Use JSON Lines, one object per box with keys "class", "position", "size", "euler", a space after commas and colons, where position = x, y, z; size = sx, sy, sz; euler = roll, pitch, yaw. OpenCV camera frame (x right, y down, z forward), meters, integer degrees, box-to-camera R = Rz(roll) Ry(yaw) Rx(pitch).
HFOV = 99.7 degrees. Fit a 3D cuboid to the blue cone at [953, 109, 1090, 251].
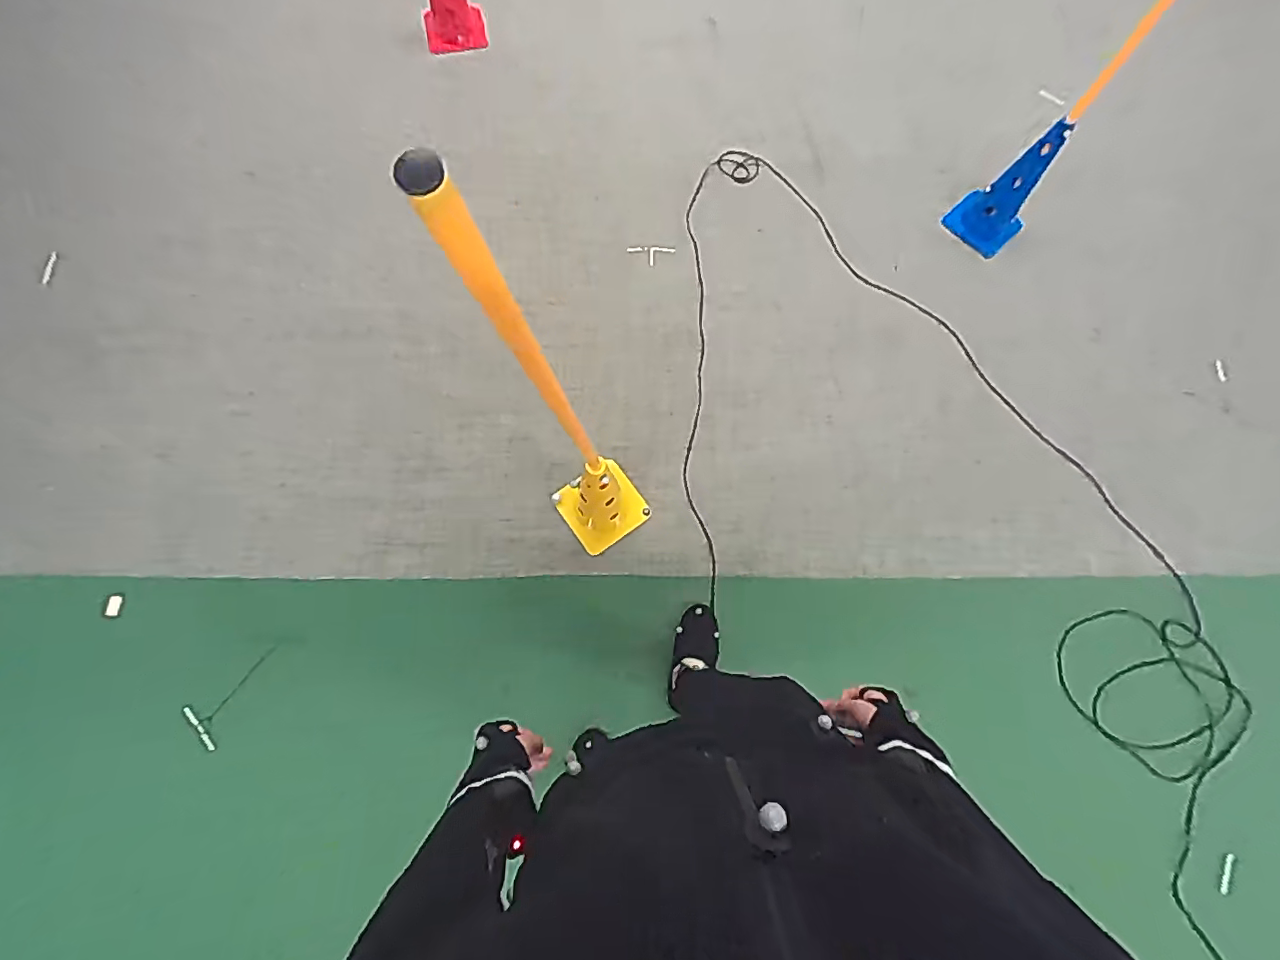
{"class": "blue cone", "position": [1.100, -0.870, 1.539], "size": [0.192, 0.380, 0.193], "euler": [44, 75, 11]}
